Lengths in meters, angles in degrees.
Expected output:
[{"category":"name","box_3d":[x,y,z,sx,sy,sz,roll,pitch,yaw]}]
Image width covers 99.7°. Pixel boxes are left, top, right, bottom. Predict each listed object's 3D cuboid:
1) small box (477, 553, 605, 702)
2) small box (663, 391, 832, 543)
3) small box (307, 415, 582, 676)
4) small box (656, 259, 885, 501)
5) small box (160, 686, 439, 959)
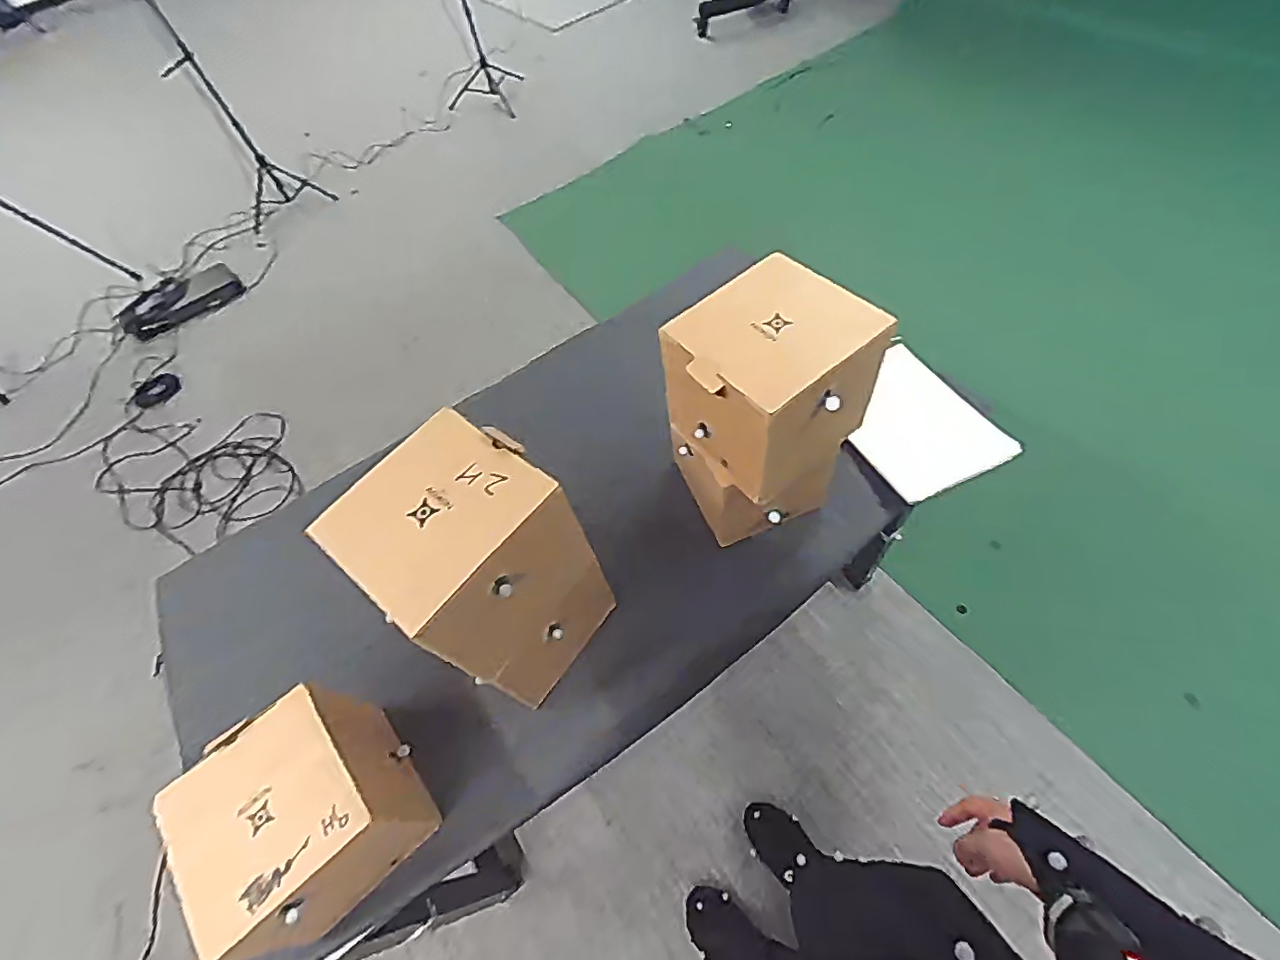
[{"category":"small box","box_3d":[-0.163,0.158,0.698,0.168,0.176,0.179,30,66,23]},{"category":"small box","box_3d":[0.144,-0.039,0.771,0.168,0.176,0.179,-22,58,-5]},{"category":"small box","box_3d":[-0.182,0.074,0.558,0.168,0.176,0.179,32,68,24]},{"category":"small box","box_3d":[0.140,-0.111,0.623,0.179,0.176,0.168,-37,60,-13]},{"category":"small box","box_3d":[-0.360,0.366,0.595,0.168,0.176,0.179,-40,61,-17]}]
